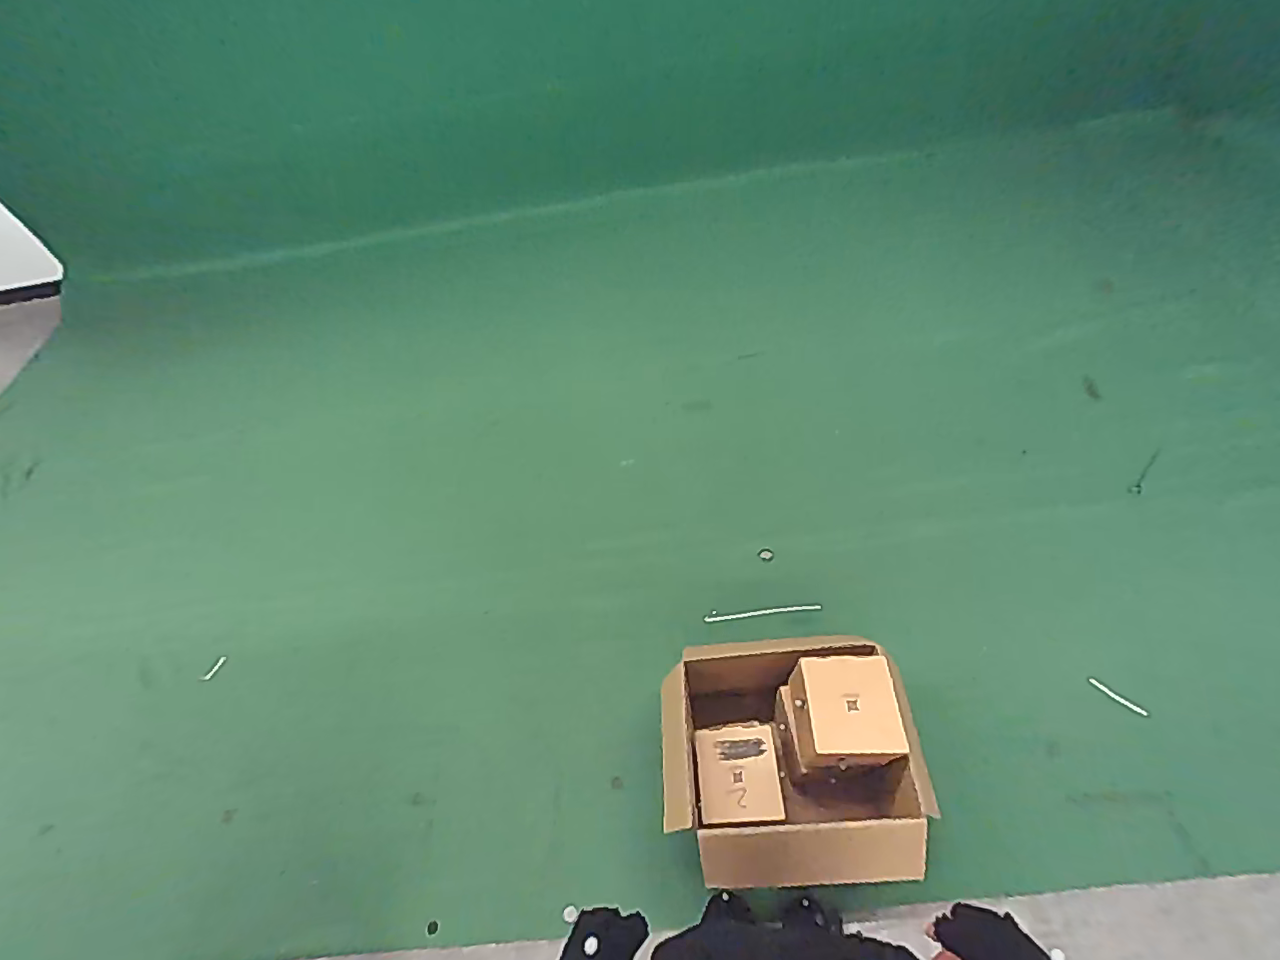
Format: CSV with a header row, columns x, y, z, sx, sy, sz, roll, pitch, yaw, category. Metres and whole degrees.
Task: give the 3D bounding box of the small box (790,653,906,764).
x,y,z,sx,sy,sz,roll,pitch,yaw,category
0.402,0.458,1.074,0.168,0.176,0.179,-3,54,5,small box
